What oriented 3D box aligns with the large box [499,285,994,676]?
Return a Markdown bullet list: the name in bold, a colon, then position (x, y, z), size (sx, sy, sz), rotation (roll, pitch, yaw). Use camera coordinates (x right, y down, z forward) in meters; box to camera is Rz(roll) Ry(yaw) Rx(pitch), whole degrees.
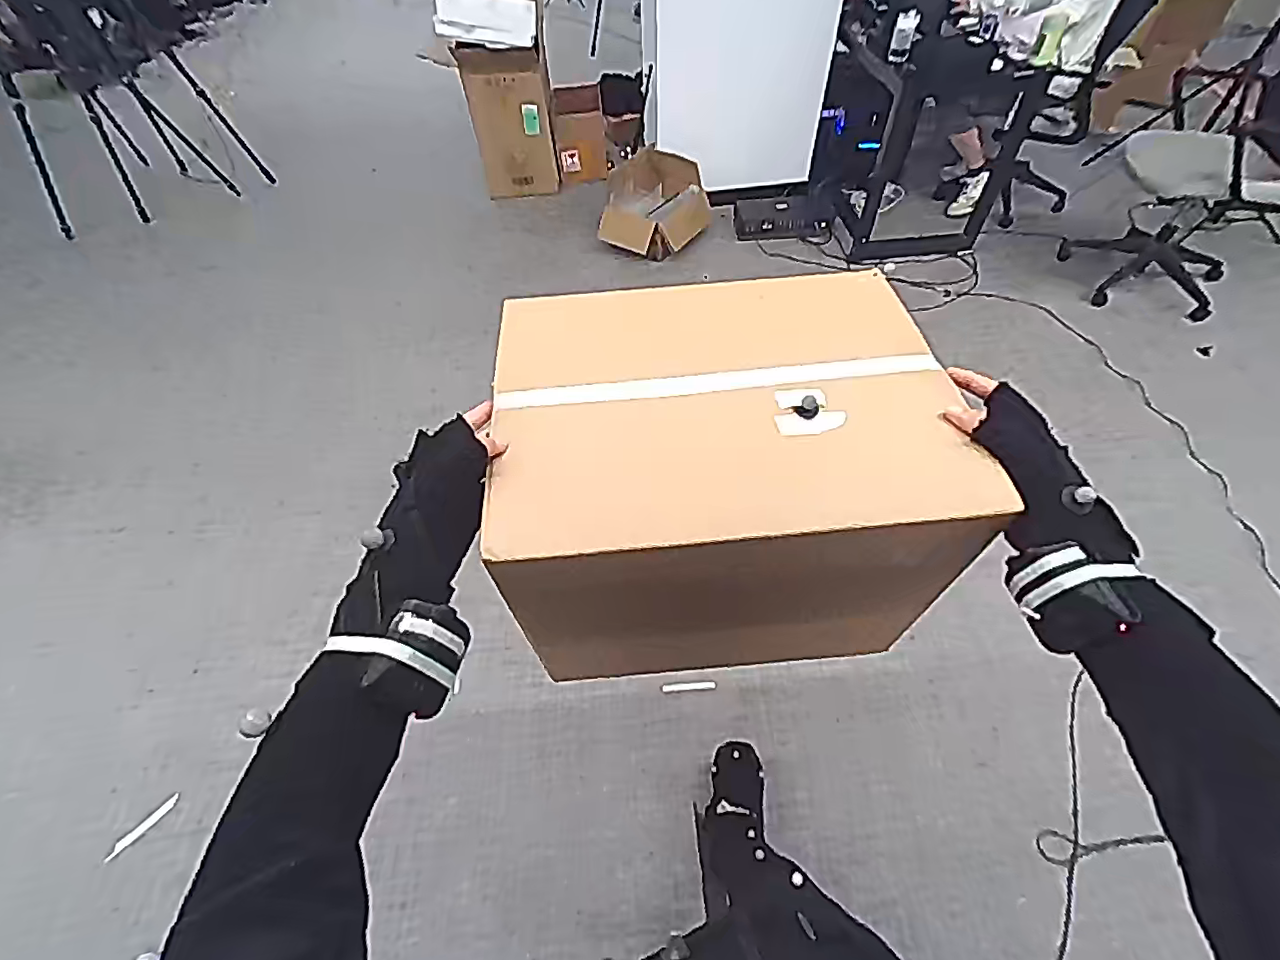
- **large box**: position (0.076, 0.010, 0.628), size (0.408, 0.320, 0.320), rotation (-5, 54, -2)
